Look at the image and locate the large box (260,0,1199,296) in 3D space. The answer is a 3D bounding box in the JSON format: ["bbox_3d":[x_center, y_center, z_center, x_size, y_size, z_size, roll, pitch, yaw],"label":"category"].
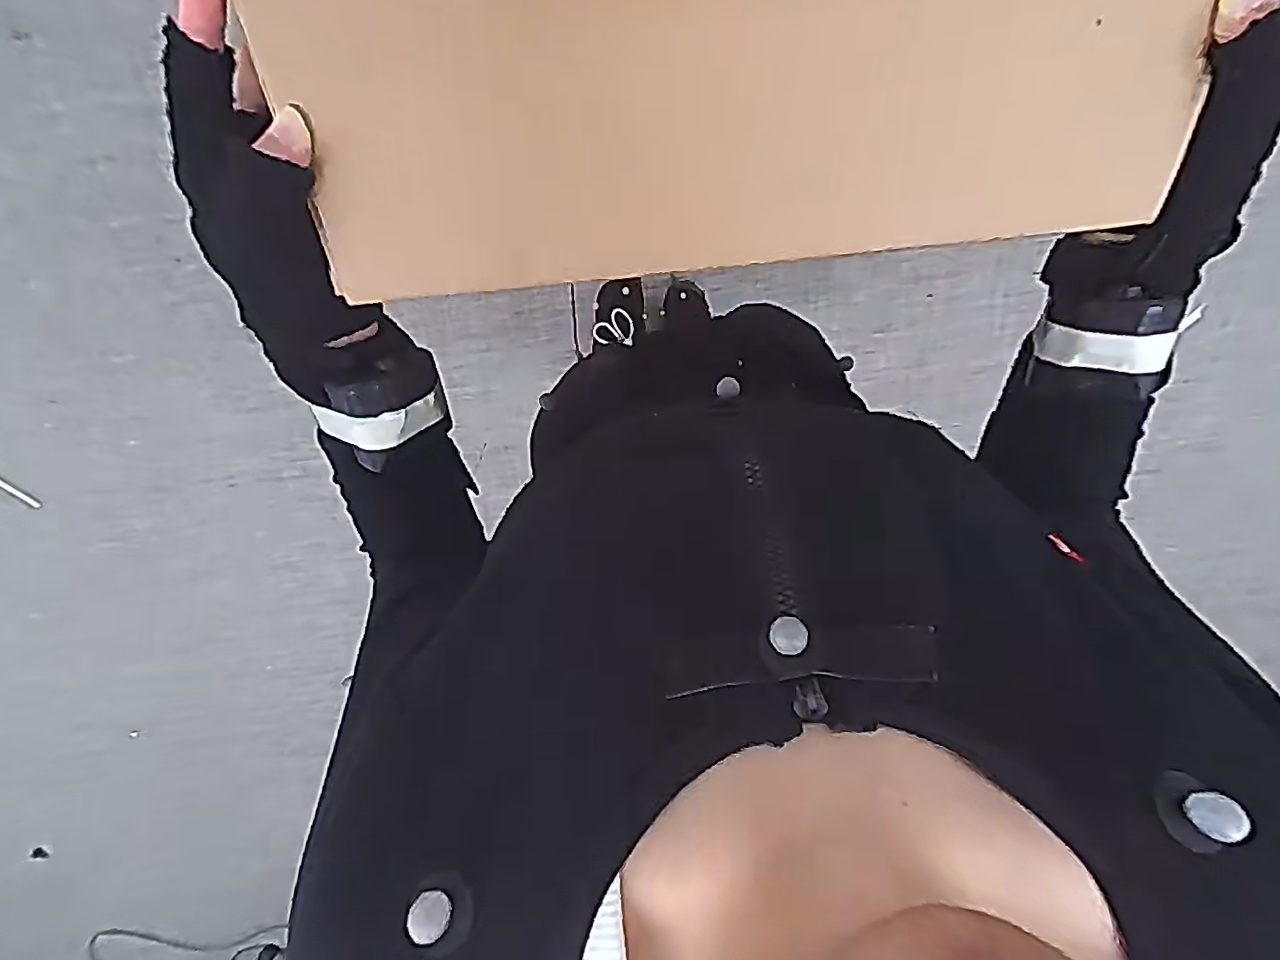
[{"bbox_3d":[0.030,-0.323,0.330,0.408,0.320,0.320,-6,122,1],"label":"large box"}]
